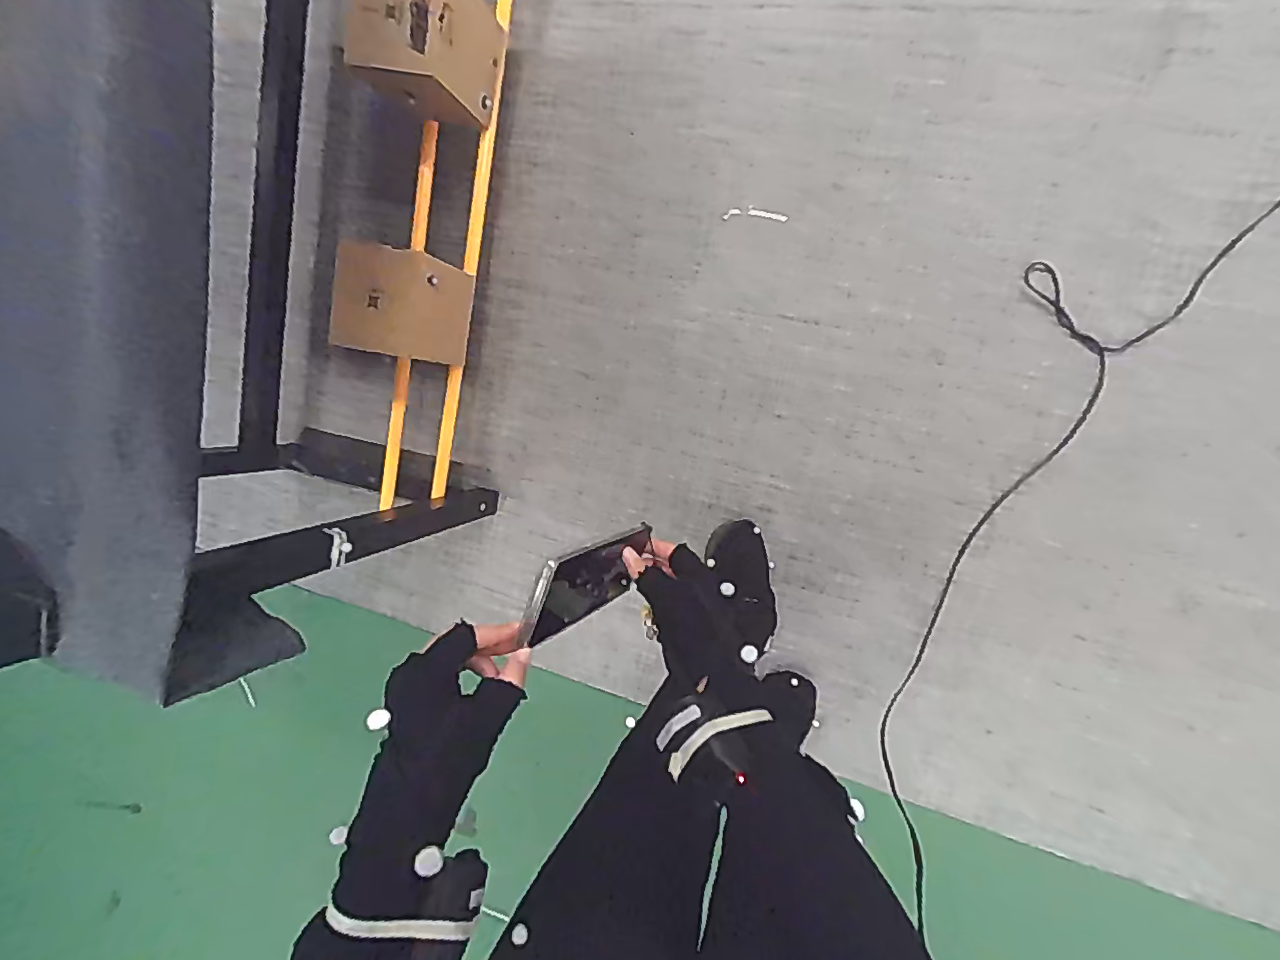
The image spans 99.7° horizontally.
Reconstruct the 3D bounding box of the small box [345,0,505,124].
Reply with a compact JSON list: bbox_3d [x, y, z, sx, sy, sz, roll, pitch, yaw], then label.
[{"bbox_3d":[-0.353,-0.734,0.910,0.179,0.176,0.168,17,100,13],"label":"small box"}]
